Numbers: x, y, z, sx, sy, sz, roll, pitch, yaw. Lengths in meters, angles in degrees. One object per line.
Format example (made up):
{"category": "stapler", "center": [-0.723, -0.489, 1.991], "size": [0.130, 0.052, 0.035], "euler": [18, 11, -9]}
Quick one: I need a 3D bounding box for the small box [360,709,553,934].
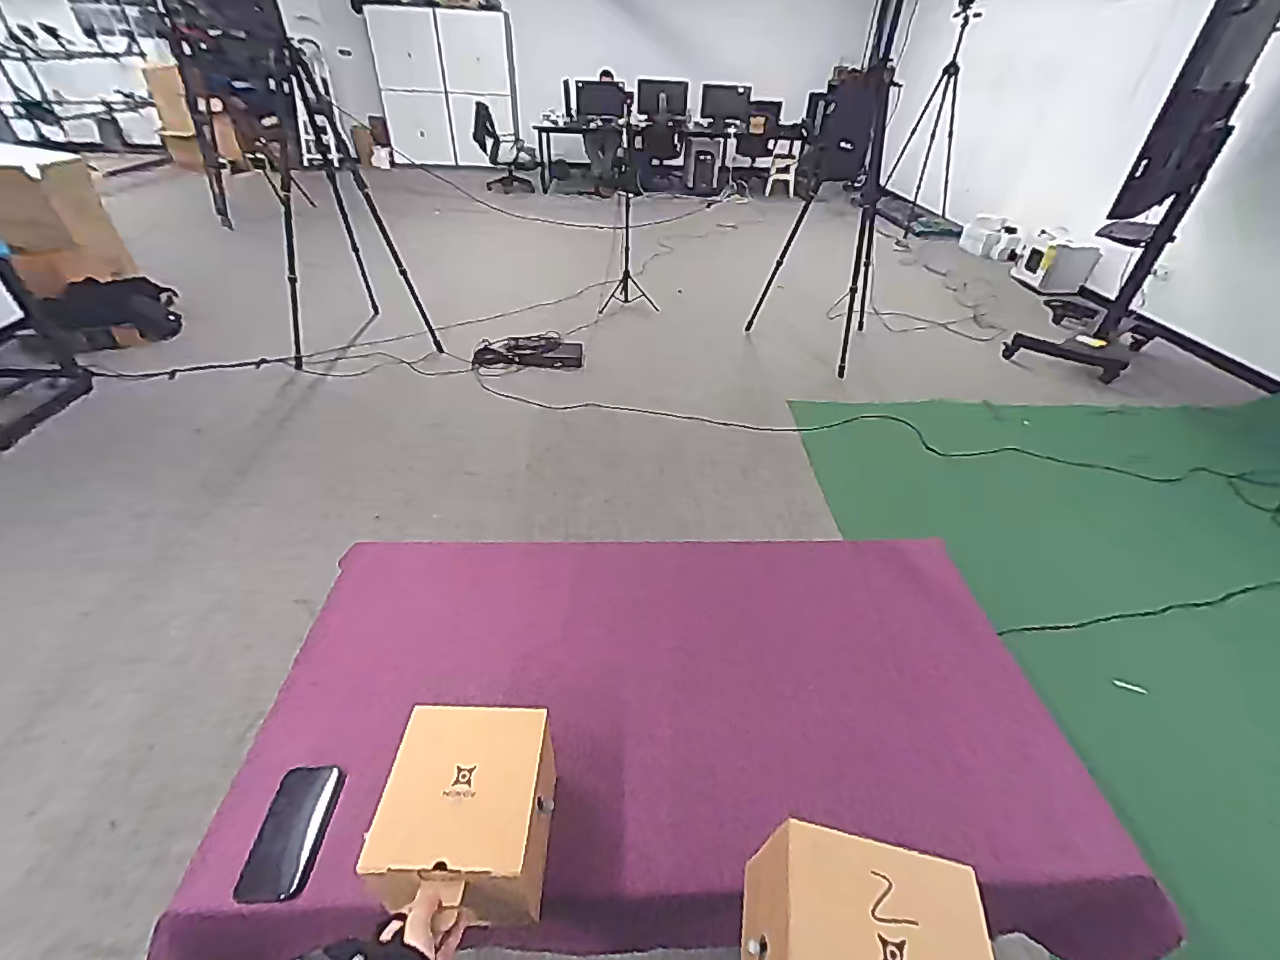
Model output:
{"category": "small box", "center": [-0.198, 0.403, 0.644], "size": [0.168, 0.176, 0.179], "euler": [3, 37, -1]}
